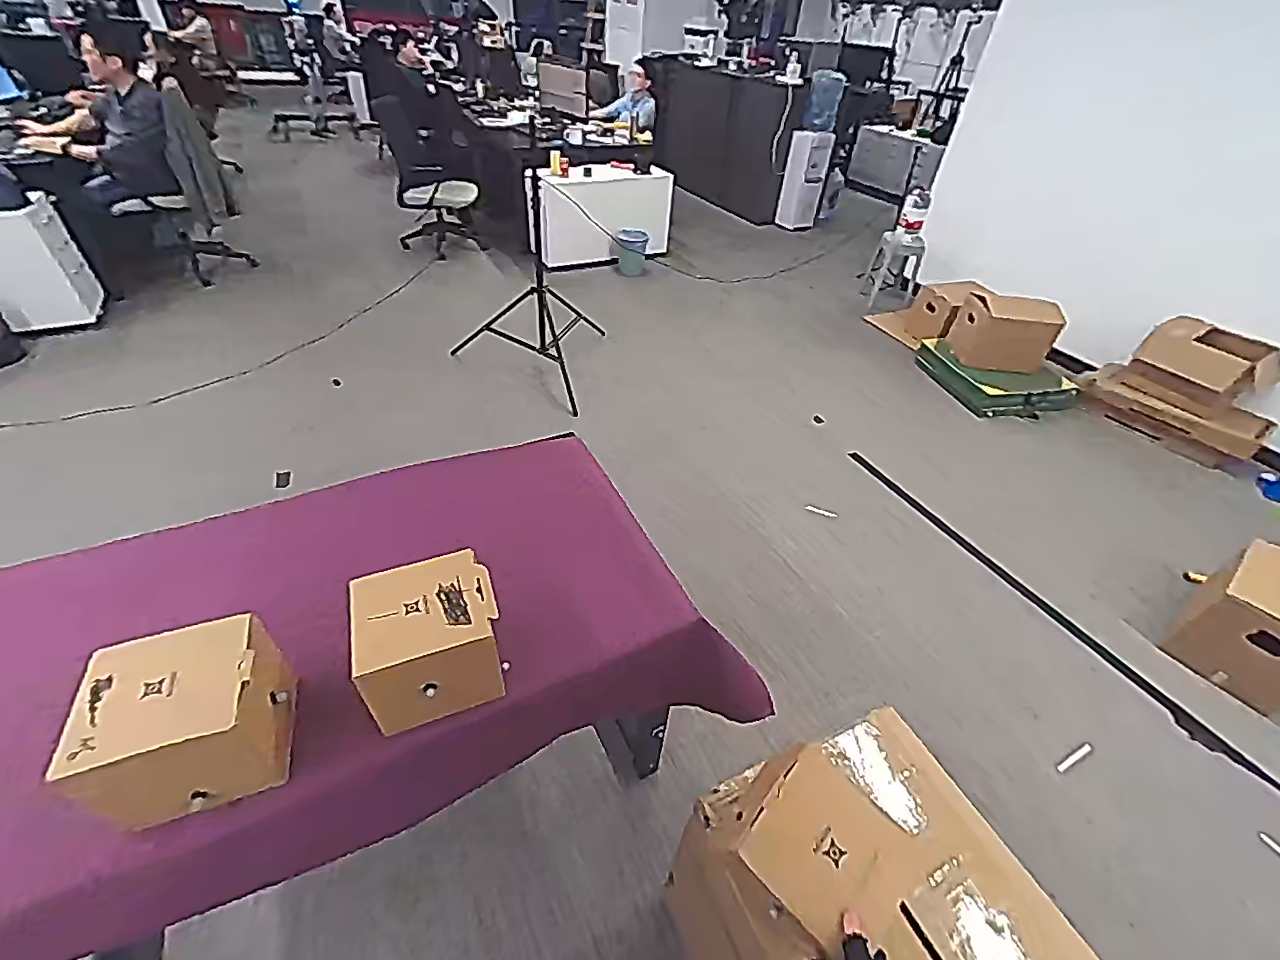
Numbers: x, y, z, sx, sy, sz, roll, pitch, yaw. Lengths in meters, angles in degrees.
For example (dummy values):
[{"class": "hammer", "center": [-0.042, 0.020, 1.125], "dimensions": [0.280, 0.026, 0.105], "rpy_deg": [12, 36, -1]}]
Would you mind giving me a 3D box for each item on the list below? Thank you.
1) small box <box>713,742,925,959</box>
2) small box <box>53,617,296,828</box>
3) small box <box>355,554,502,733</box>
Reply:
[{"class": "small box", "center": [0.219, 0.481, 0.706], "dimensions": [0.179, 0.176, 0.168], "rpy_deg": [39, 62, 17]}, {"class": "small box", "center": [-0.571, 0.311, 0.701], "dimensions": [0.179, 0.176, 0.168], "rpy_deg": [-11, 42, -19]}, {"class": "small box", "center": [-0.309, 0.242, 0.807], "dimensions": [0.179, 0.176, 0.168], "rpy_deg": [-13, 43, -18]}]
